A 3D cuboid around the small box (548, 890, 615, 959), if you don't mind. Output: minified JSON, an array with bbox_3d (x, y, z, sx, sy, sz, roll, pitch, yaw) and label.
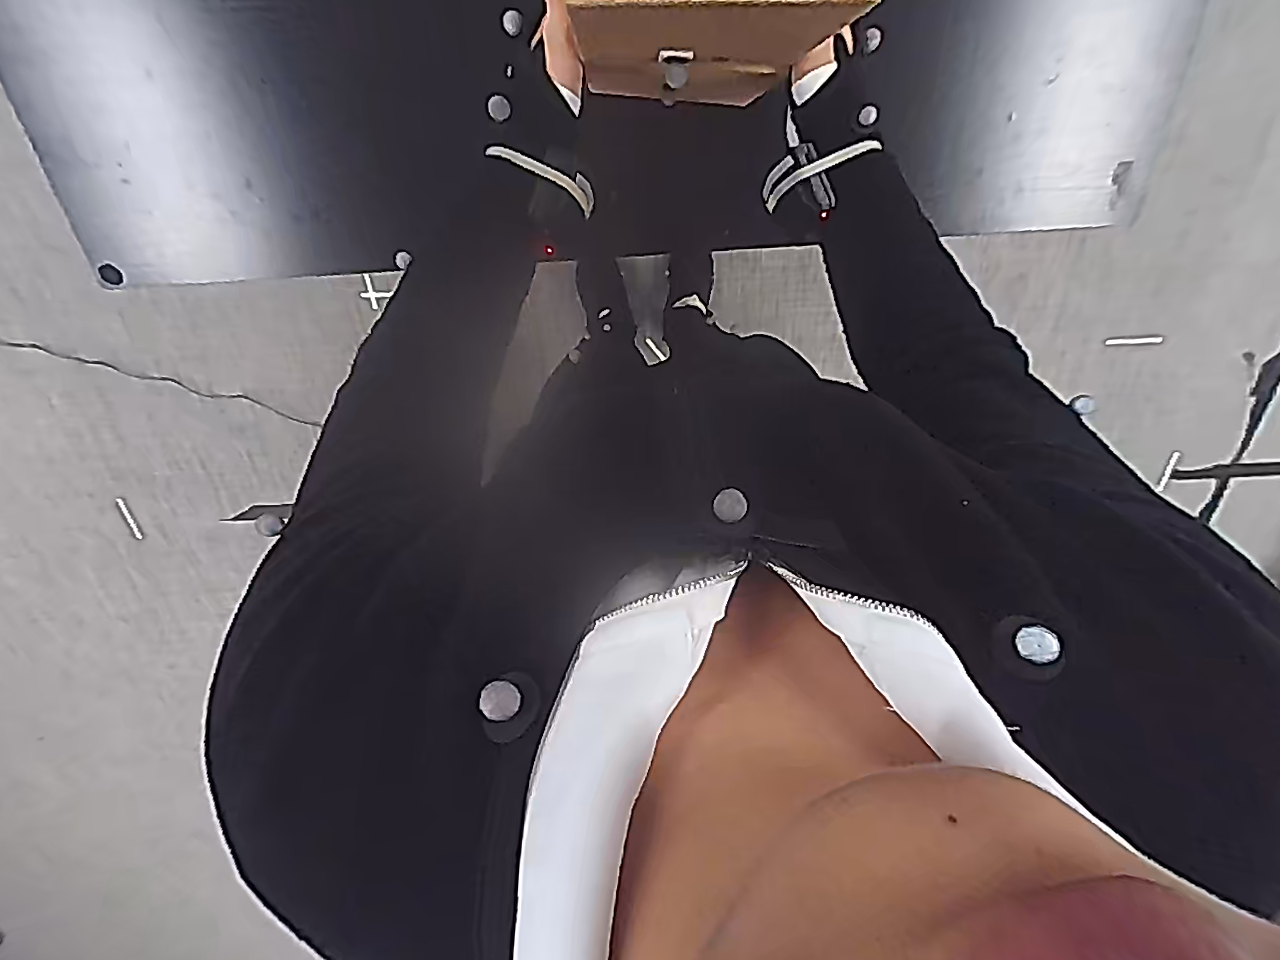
[{"bbox_3d":[-0.184,1.477,1.758,0.179,0.176,0.168,-10,114,4],"label":"small box"}]

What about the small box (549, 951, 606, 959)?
[{"bbox_3d":[-0.179,1.542,1.605,0.179,0.176,0.168,-10,114,4],"label":"small box"}]

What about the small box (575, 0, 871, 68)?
[{"bbox_3d":[0.040,-0.365,0.315,0.168,0.176,0.179,-1,119,-1],"label":"small box"}]
